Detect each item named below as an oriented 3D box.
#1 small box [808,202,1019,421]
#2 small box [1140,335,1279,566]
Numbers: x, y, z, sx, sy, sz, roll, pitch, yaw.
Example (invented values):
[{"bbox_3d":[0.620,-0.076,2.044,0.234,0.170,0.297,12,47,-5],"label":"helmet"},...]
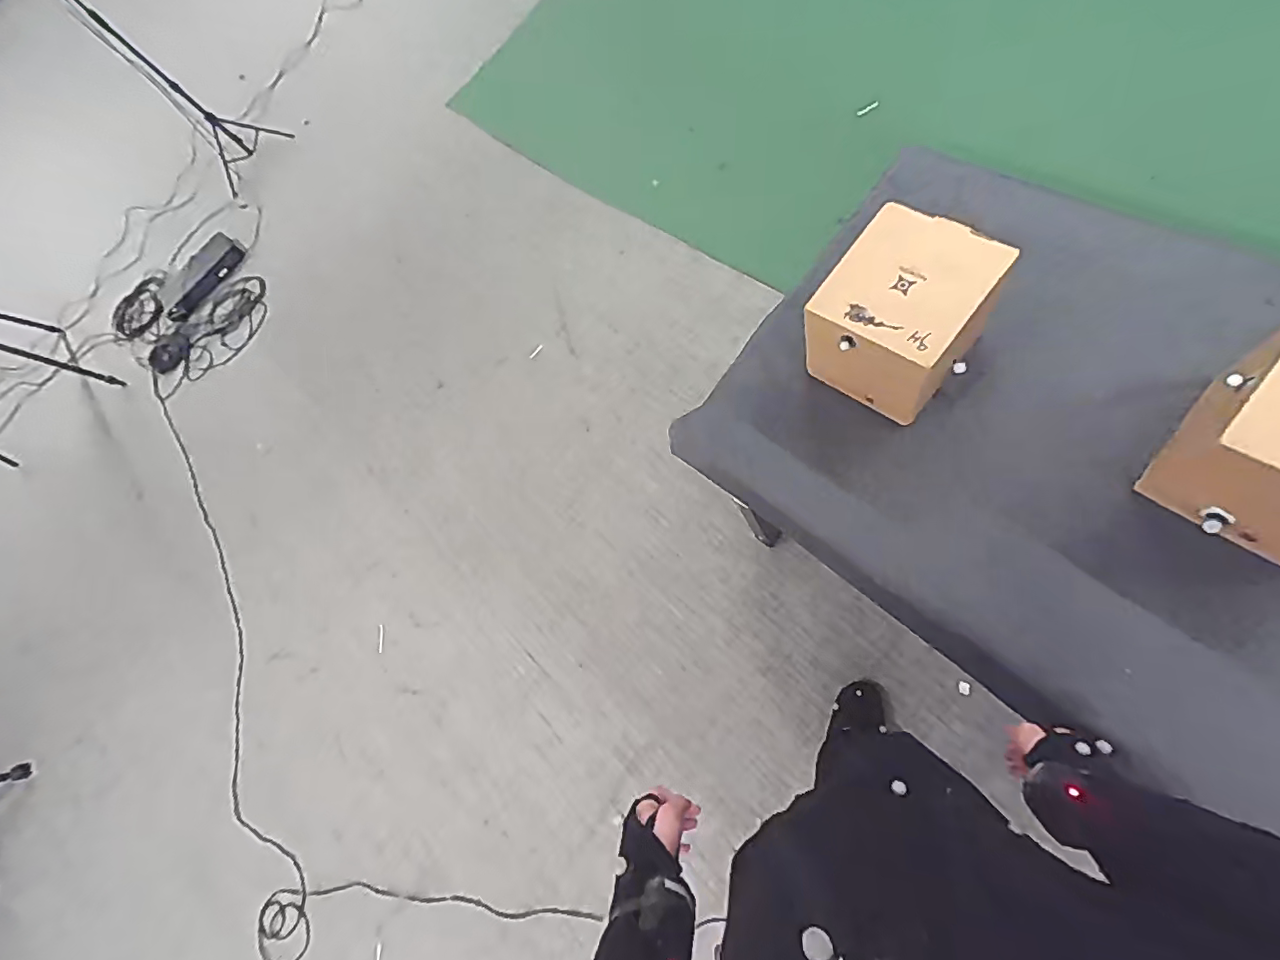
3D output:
[{"bbox_3d":[0.336,-0.210,0.703,0.168,0.176,0.179,37,87,25],"label":"small box"},{"bbox_3d":[0.666,-0.035,0.539,0.168,0.176,0.179,37,89,26],"label":"small box"}]
